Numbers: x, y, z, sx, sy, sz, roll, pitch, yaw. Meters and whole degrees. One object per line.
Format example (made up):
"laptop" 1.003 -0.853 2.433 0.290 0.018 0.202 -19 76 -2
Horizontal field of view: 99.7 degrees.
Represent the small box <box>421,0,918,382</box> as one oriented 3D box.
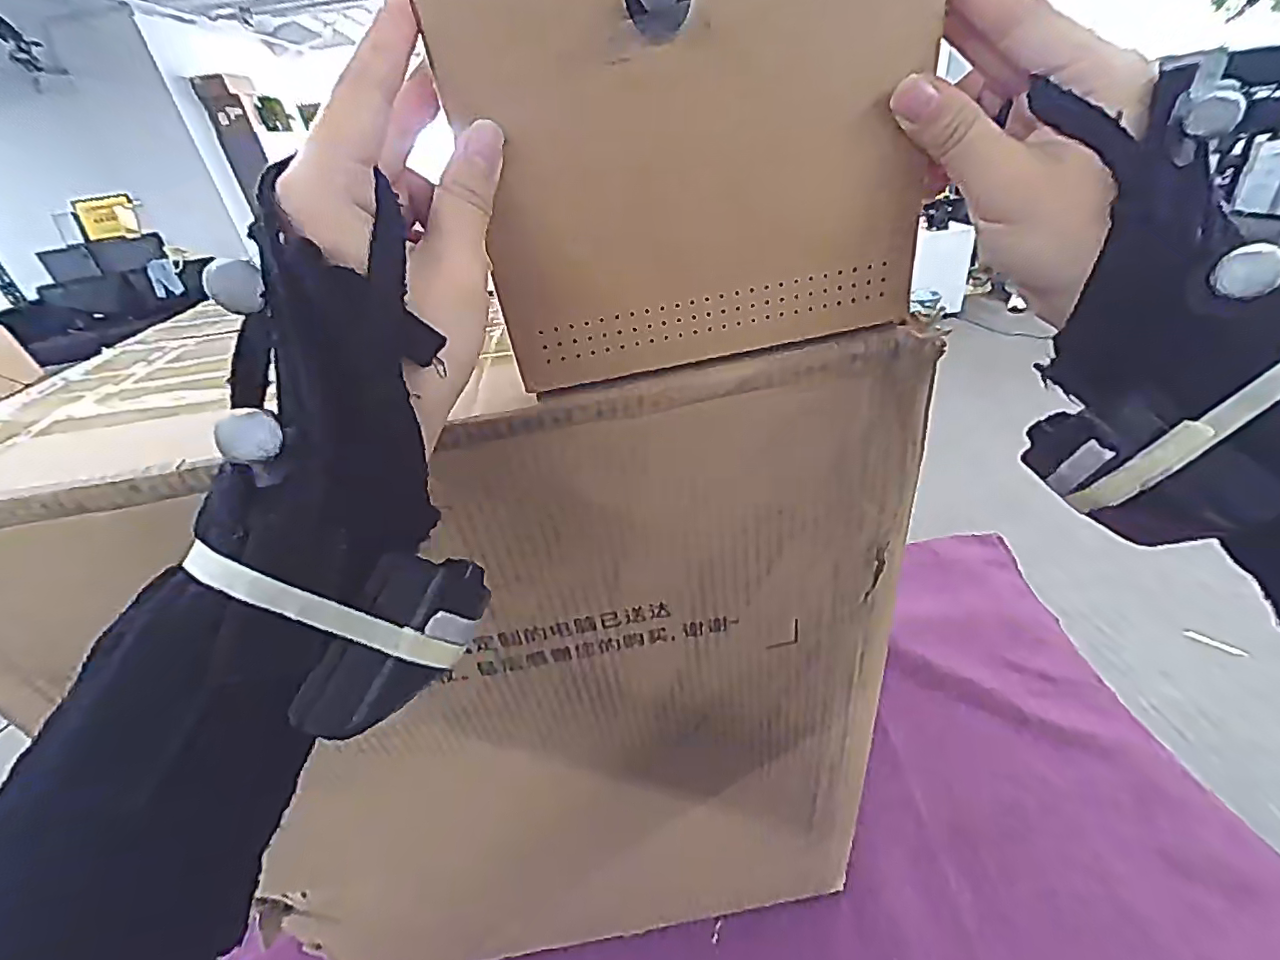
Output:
"small box" 0.014 -0.161 0.263 0.179 0.176 0.168 -12 33 -2
